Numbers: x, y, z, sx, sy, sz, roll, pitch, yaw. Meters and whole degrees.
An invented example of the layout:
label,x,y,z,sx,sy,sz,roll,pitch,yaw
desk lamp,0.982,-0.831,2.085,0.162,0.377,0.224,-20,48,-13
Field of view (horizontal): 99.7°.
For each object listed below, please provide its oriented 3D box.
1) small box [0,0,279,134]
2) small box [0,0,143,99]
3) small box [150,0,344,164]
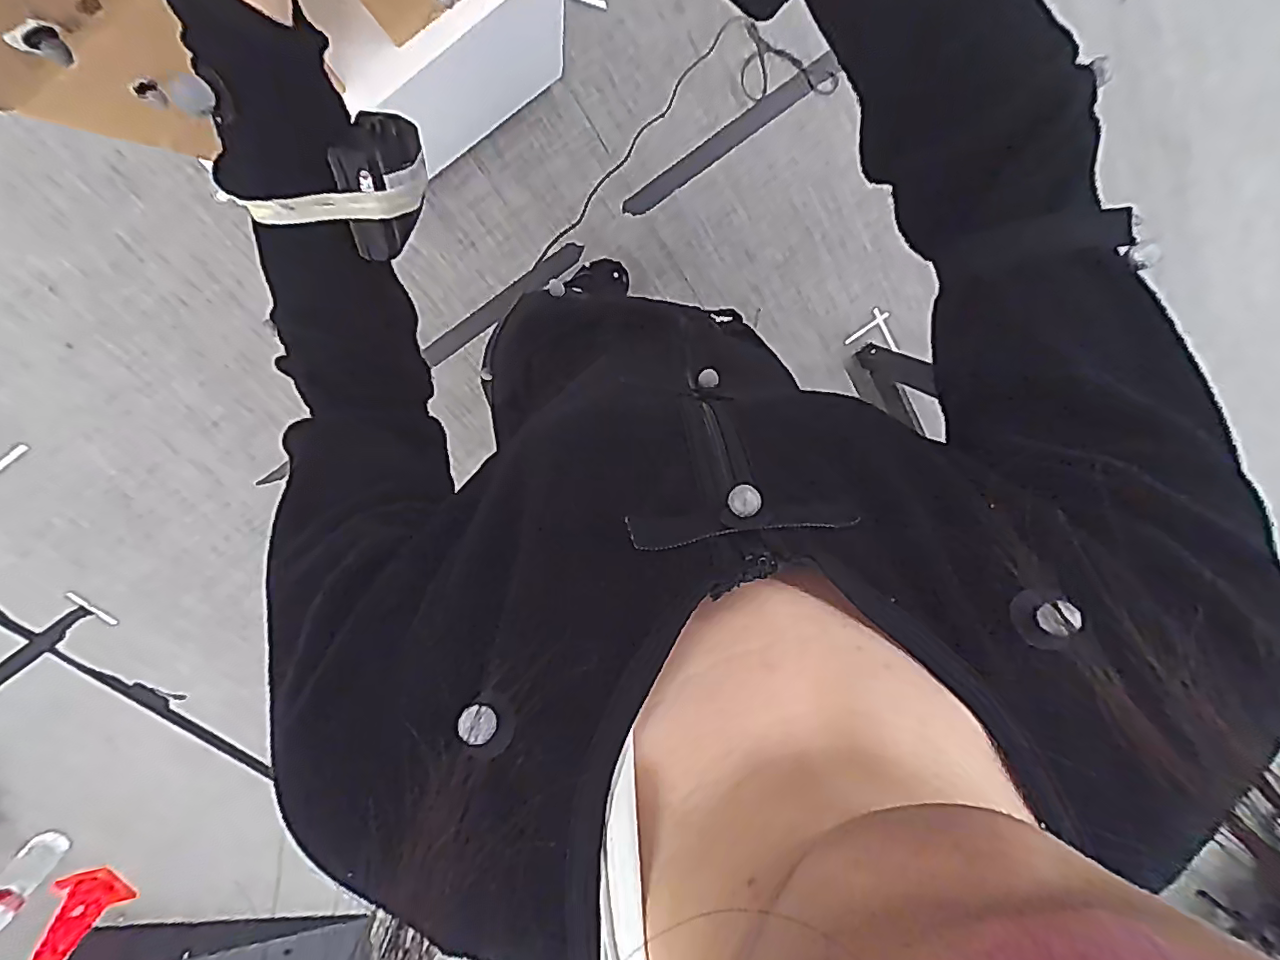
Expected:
label,x,y,z,sx,sy,sz,roll,pitch,yaw
small box,-0.433,-0.400,0.415,0.168,0.176,0.179,-35,114,7
small box,-0.411,-0.337,0.267,0.168,0.176,0.179,-35,114,8
small box,-0.457,-0.465,0.561,0.168,0.176,0.179,-33,113,7
